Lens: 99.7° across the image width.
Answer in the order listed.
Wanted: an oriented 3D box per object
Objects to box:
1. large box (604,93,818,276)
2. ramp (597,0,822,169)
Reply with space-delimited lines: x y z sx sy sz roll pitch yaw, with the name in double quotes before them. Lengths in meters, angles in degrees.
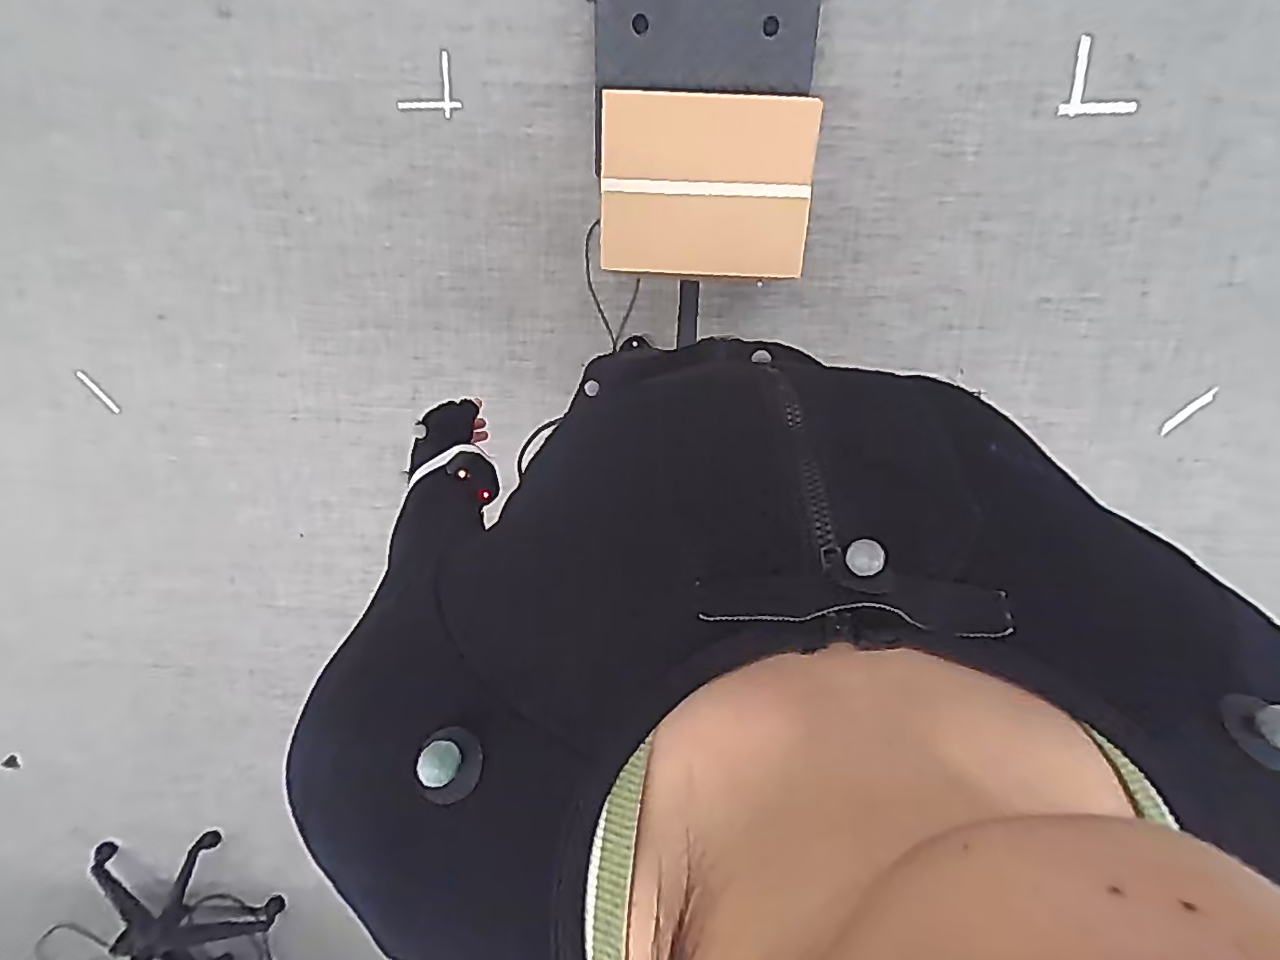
"large box" 0.136 -0.617 1.189 0.408 0.320 0.320 3 108 1
"ramp" 0.154 -1.201 1.102 0.509 0.206 0.991 0 105 1
